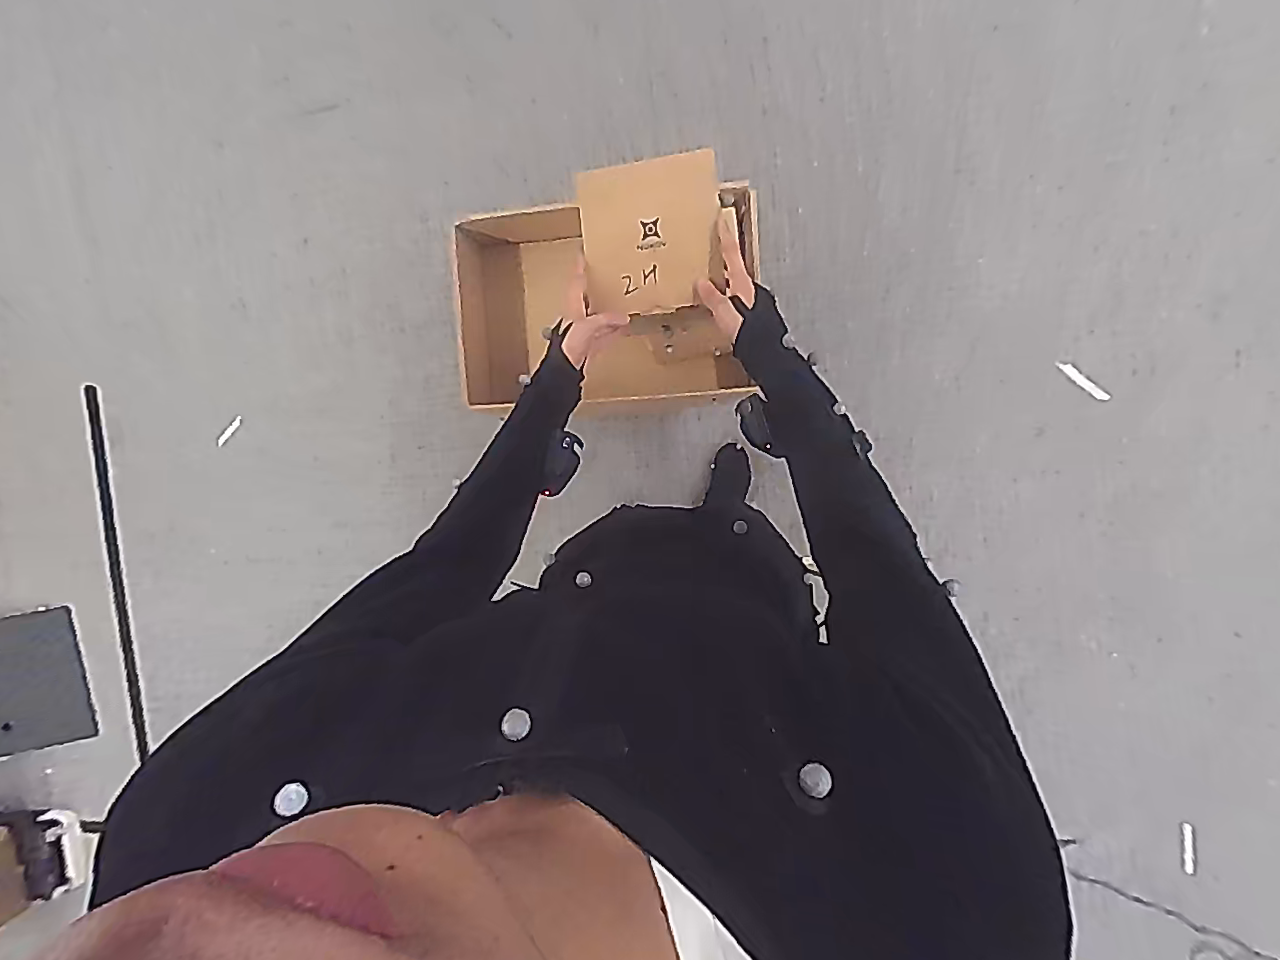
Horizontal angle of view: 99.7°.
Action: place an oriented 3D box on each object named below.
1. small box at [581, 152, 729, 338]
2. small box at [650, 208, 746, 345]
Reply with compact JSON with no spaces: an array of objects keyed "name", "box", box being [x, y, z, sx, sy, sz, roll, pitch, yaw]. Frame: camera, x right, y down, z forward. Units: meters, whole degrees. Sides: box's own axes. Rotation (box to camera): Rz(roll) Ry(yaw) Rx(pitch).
[{"name":"small box","box":[0.029,-0.293,0.715,0.168,0.176,0.179,-4,98,11]},{"name":"small box","box":[0.091,-0.338,0.937,0.168,0.176,0.179,-6,93,7]}]
